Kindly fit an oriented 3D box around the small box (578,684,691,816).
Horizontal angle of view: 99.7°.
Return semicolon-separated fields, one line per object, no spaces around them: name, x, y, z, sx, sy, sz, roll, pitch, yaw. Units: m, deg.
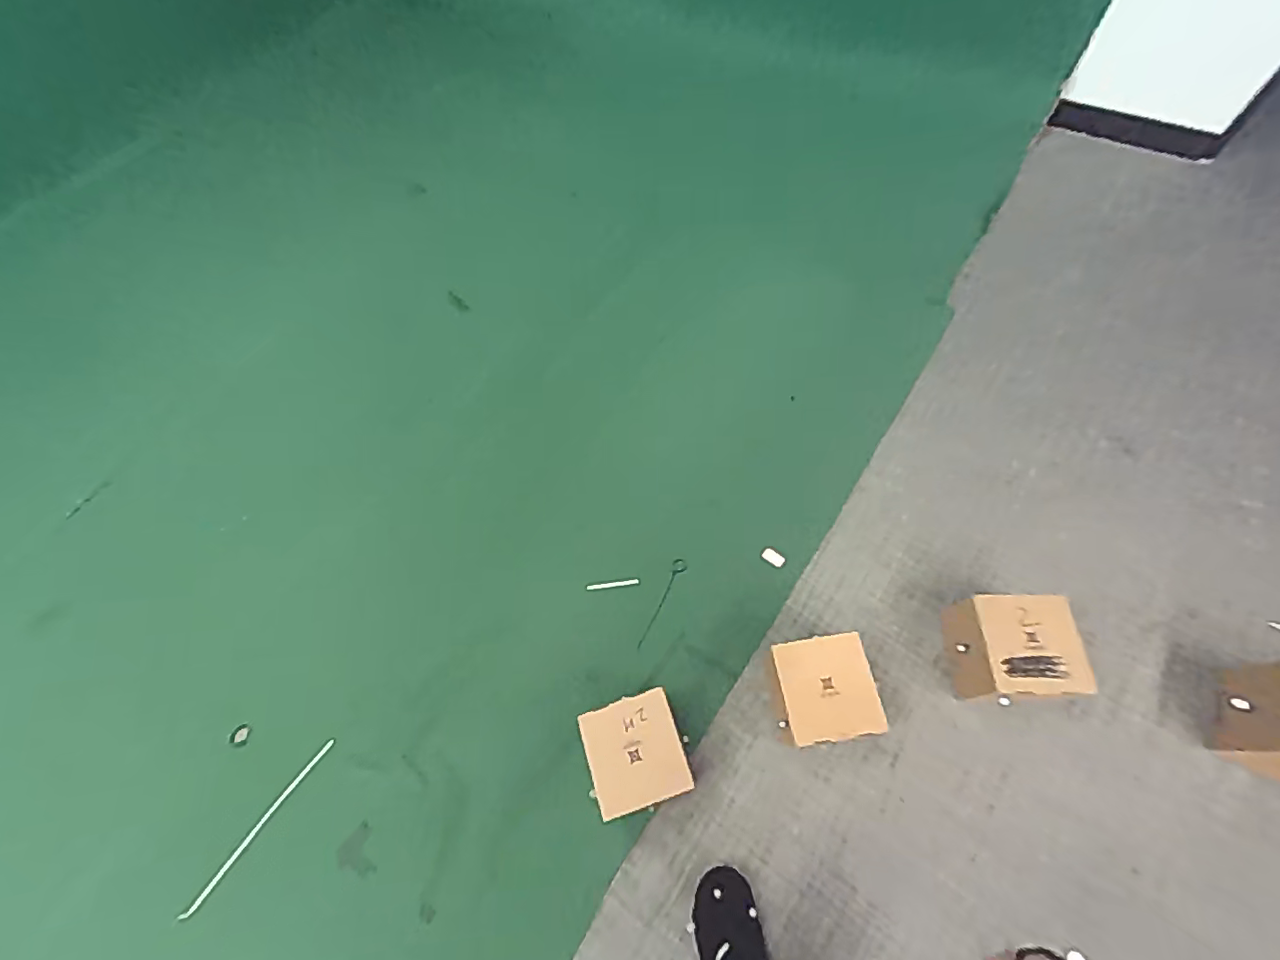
small box;-0.005;0.506;1.025;0.168;0.176;0.179;-18;63;-4

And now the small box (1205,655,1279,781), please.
small box;1.160;0.432;0.948;0.179;0.176;0.168;24;69;17

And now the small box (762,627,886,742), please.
small box;0.342;0.400;1.047;0.168;0.176;0.179;-10;63;1
